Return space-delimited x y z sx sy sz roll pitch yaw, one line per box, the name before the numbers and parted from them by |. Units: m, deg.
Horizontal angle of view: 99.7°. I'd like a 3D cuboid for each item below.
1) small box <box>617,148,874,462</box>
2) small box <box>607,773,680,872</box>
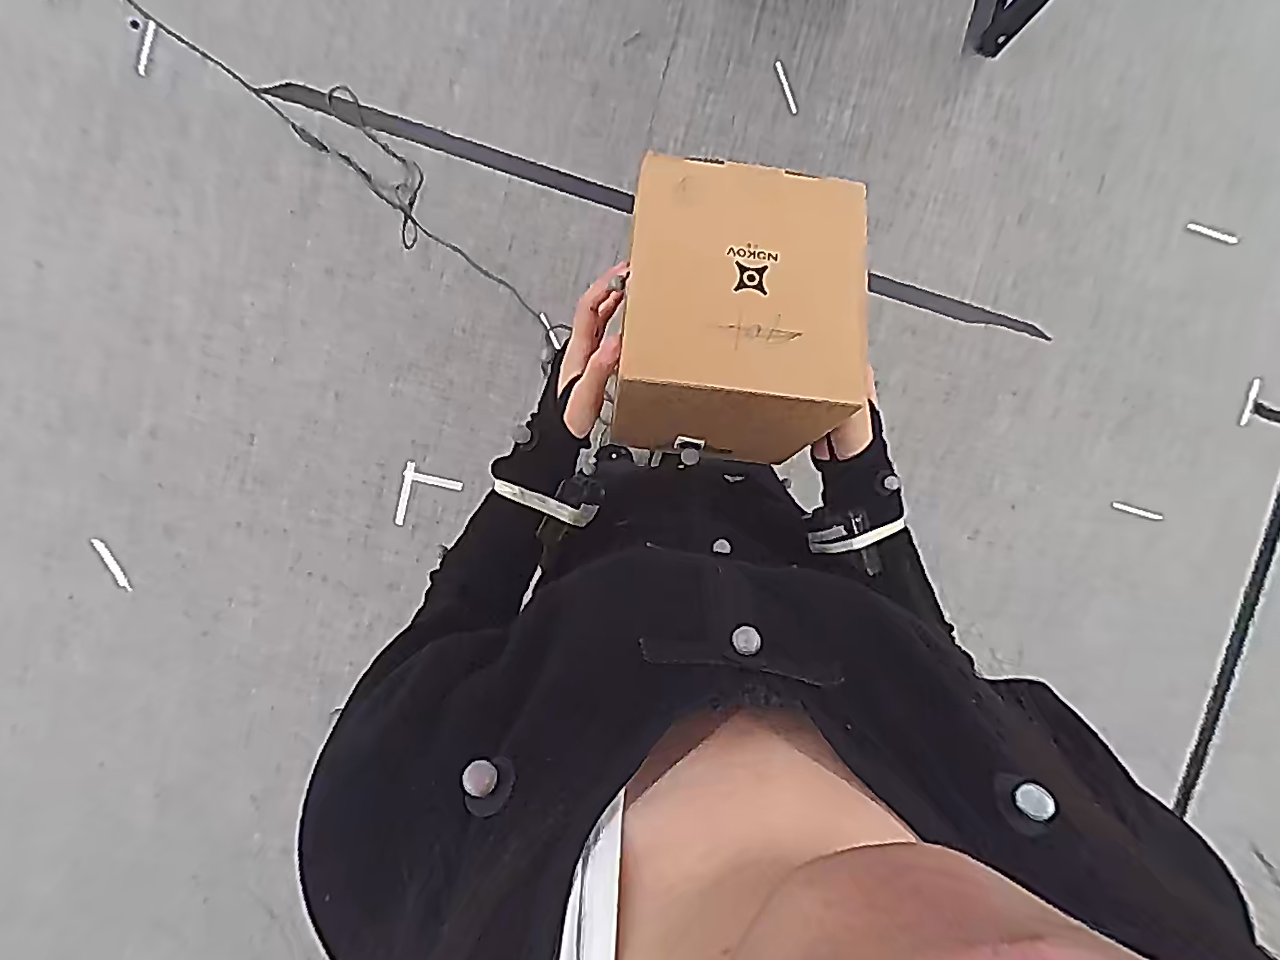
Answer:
small box | 0.071 -0.125 0.444 0.168 0.176 0.179 5 78 -4
small box | 0.005 0.923 1.470 0.179 0.176 0.168 3 93 -4
